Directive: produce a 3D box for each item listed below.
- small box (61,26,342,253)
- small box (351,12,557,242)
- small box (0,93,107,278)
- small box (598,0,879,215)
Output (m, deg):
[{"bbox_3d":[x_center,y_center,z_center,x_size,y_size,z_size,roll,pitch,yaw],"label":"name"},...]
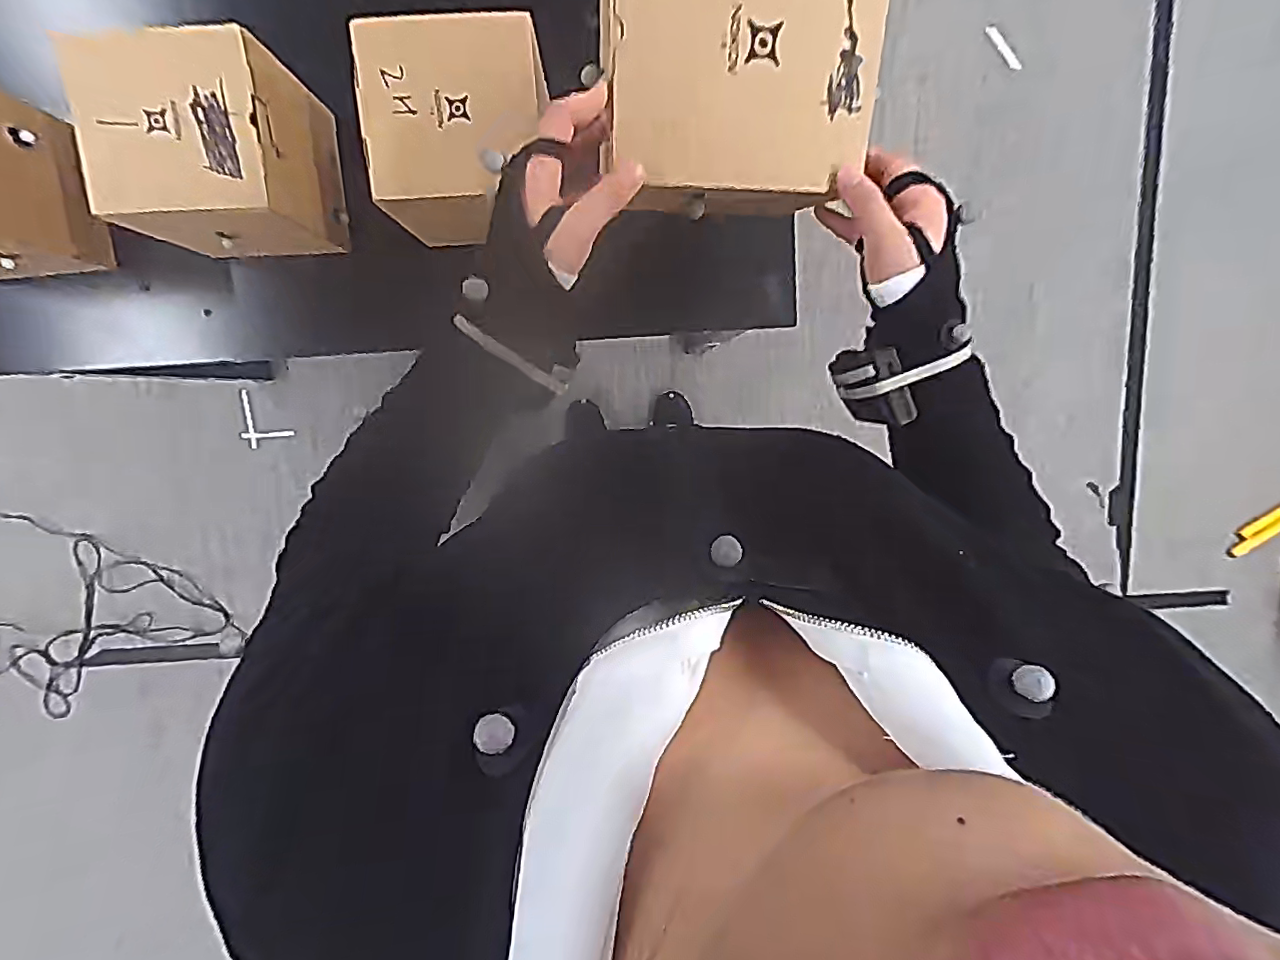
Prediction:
[{"bbox_3d":[-0.459,-0.361,0.604,0.179,0.176,0.168,-3,99,-1],"label":"small box"},{"bbox_3d":[-0.190,-0.380,0.612,0.179,0.176,0.168,-4,98,-2],"label":"small box"},{"bbox_3d":[-0.753,-0.331,0.597,0.179,0.176,0.168,-6,98,-1],"label":"small box"},{"bbox_3d":[0.056,-0.303,0.414,0.179,0.176,0.168,0,112,-5],"label":"small box"}]
